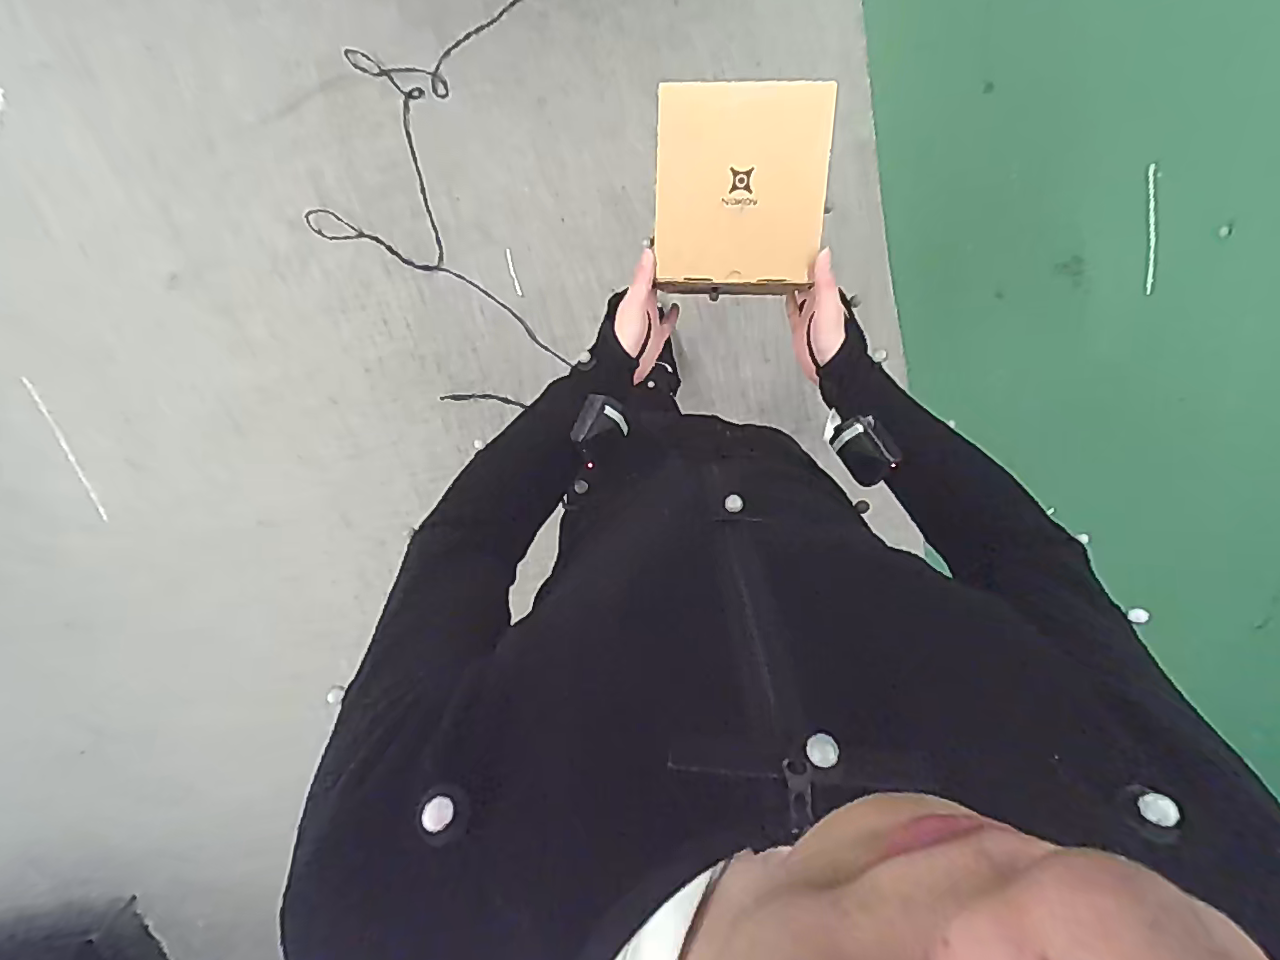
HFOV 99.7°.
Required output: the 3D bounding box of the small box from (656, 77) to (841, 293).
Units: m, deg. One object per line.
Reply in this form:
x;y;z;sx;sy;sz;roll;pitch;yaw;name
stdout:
0.102;-0.303;0.589;0.168;0.176;0.179;2;107;3;small box
